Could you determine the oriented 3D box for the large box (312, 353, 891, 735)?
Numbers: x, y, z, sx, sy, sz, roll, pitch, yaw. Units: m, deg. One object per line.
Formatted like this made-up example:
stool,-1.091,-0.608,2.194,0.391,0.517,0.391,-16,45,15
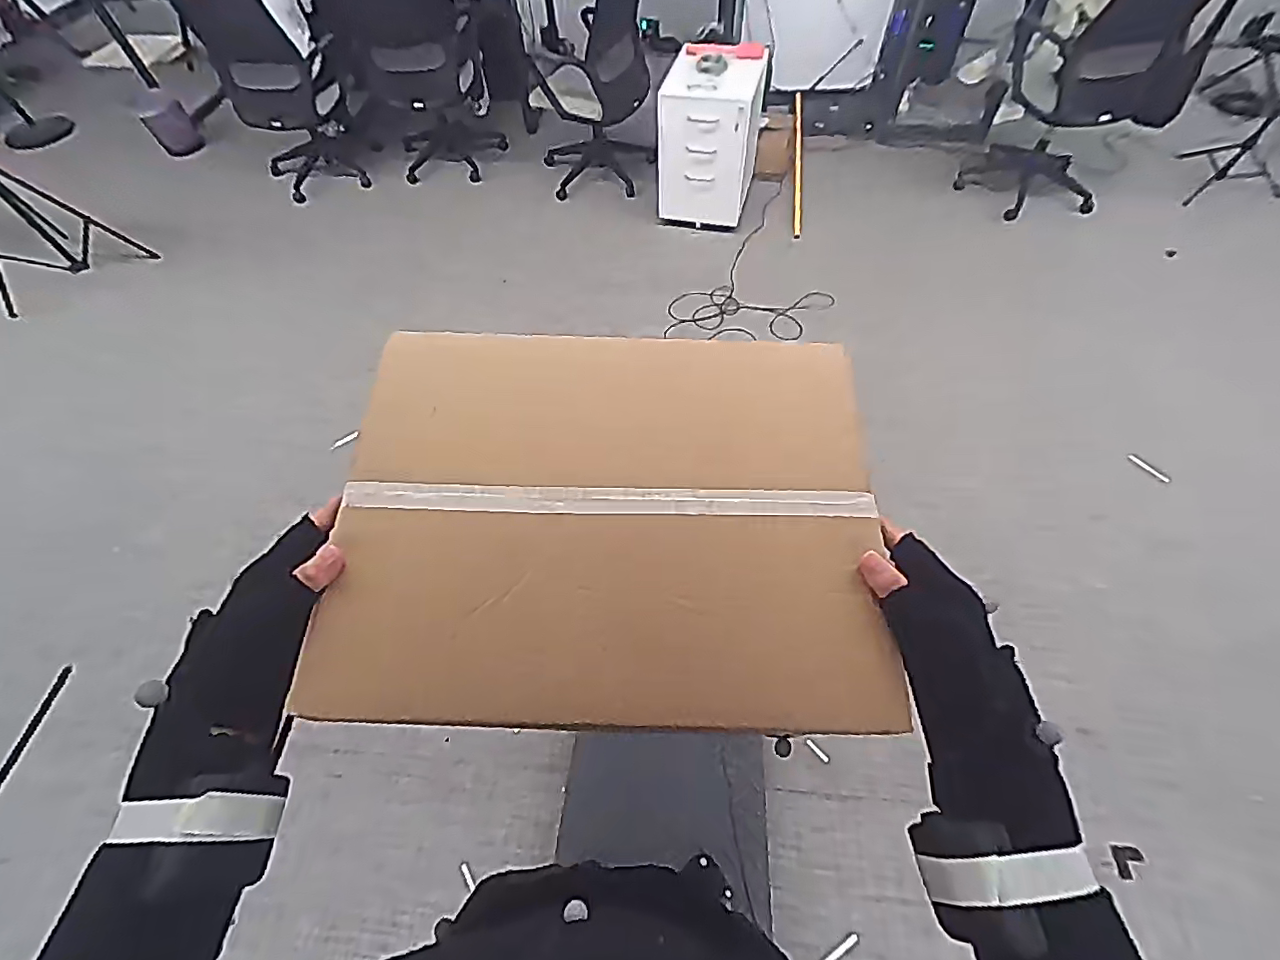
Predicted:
large box,-0.024,0.087,0.562,0.408,0.320,0.320,1,65,0
